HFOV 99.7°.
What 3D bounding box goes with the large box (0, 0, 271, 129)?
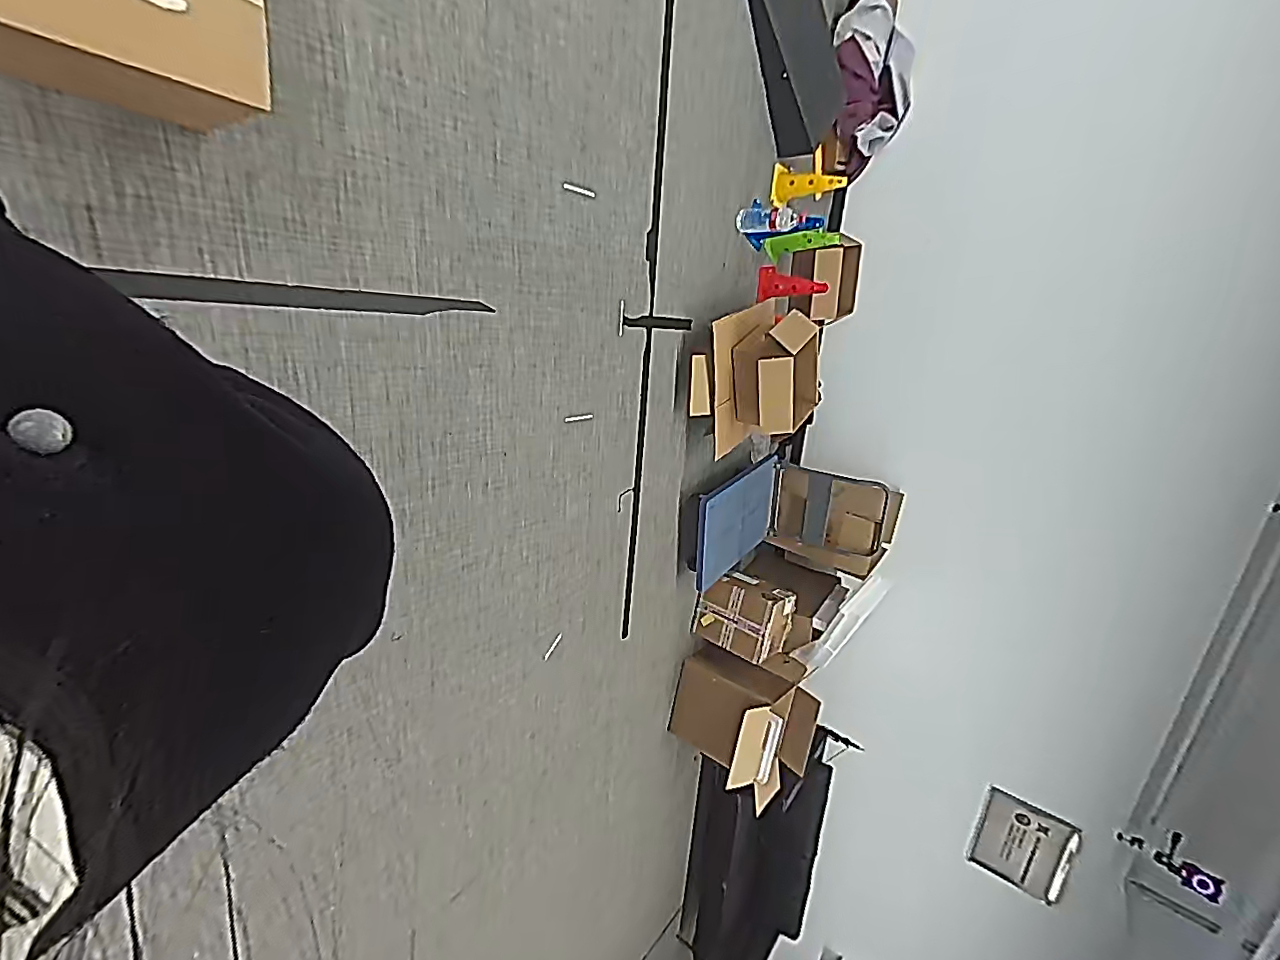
[{"bbox_3d":[-0.851,-0.778,0.804,0.408,0.320,0.320,-15,116,-52],"label":"large box"}]
